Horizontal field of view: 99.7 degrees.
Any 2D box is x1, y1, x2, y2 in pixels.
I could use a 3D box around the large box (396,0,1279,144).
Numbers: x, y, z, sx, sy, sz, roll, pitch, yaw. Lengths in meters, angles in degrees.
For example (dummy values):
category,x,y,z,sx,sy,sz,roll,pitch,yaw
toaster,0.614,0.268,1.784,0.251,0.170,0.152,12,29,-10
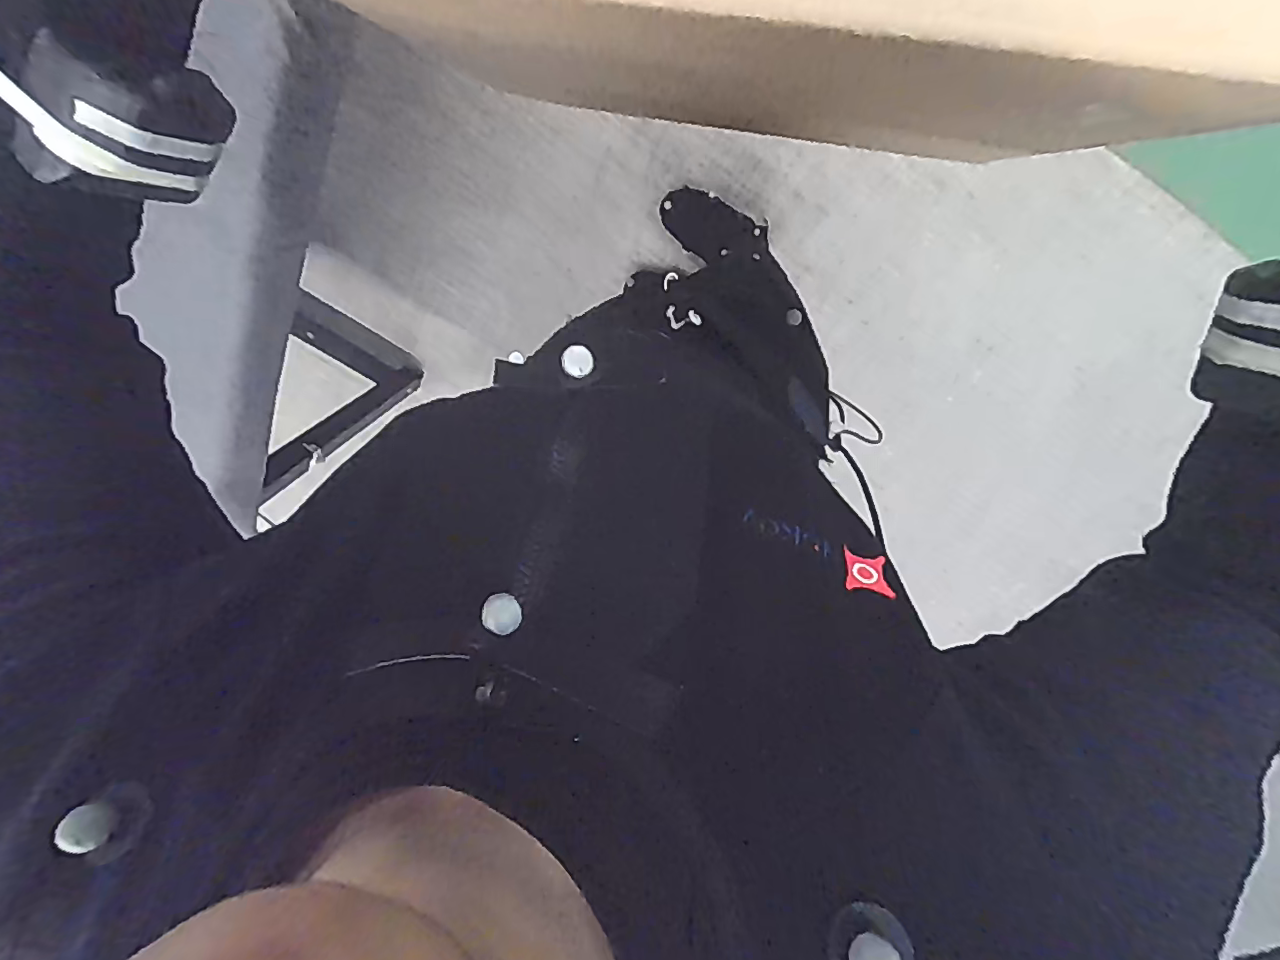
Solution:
category,x,y,z,sx,sy,sz,roll,pitch,yaw
large box,0.093,-0.370,0.250,0.408,0.320,0.320,8,118,1
